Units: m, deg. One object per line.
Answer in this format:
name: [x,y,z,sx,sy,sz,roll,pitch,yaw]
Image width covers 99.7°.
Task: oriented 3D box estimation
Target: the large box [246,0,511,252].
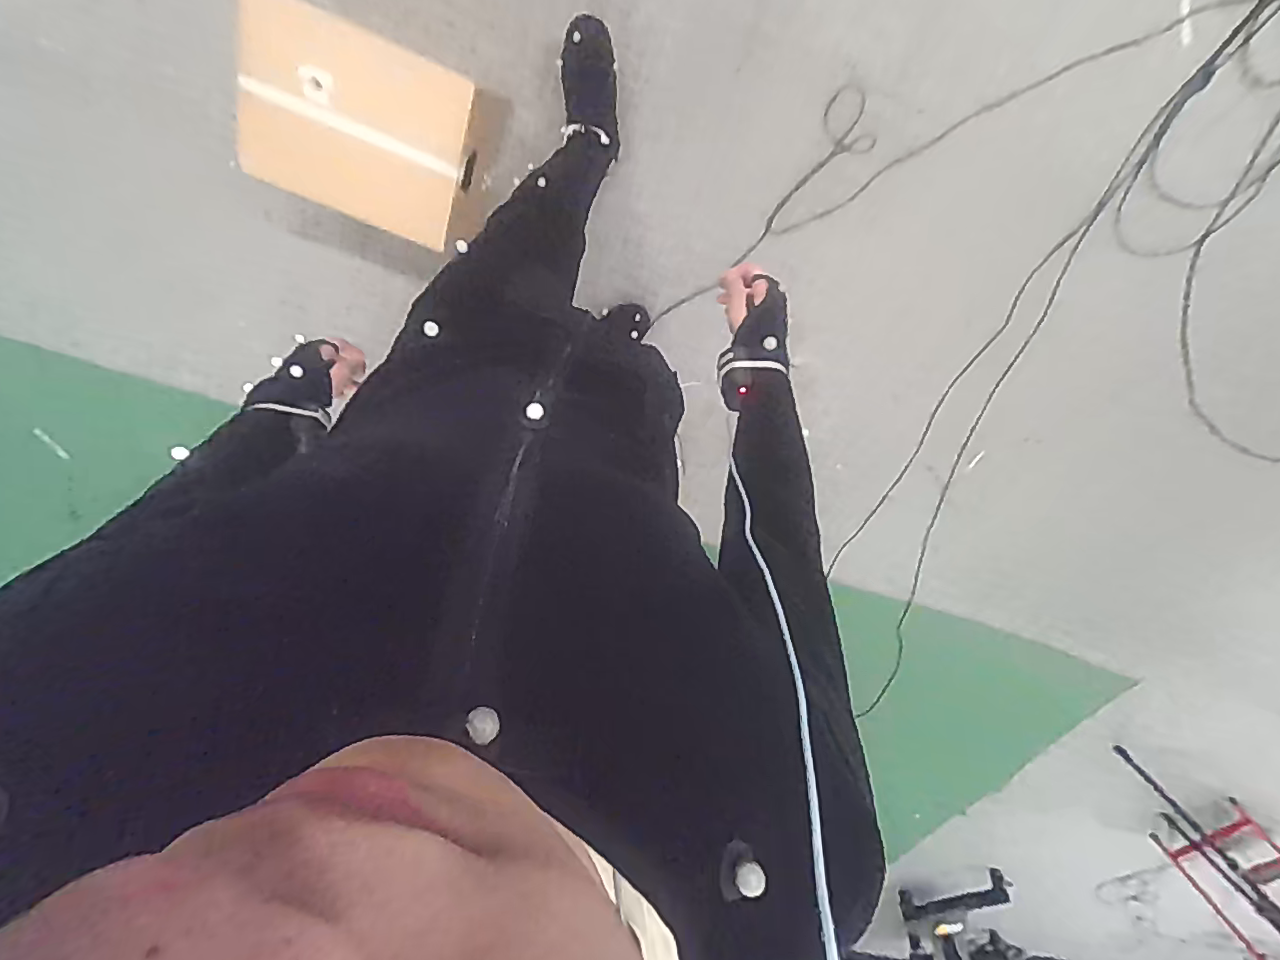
large box: [-0.531,-0.737,1.153,0.408,0.320,0.320,20,119,-10]
